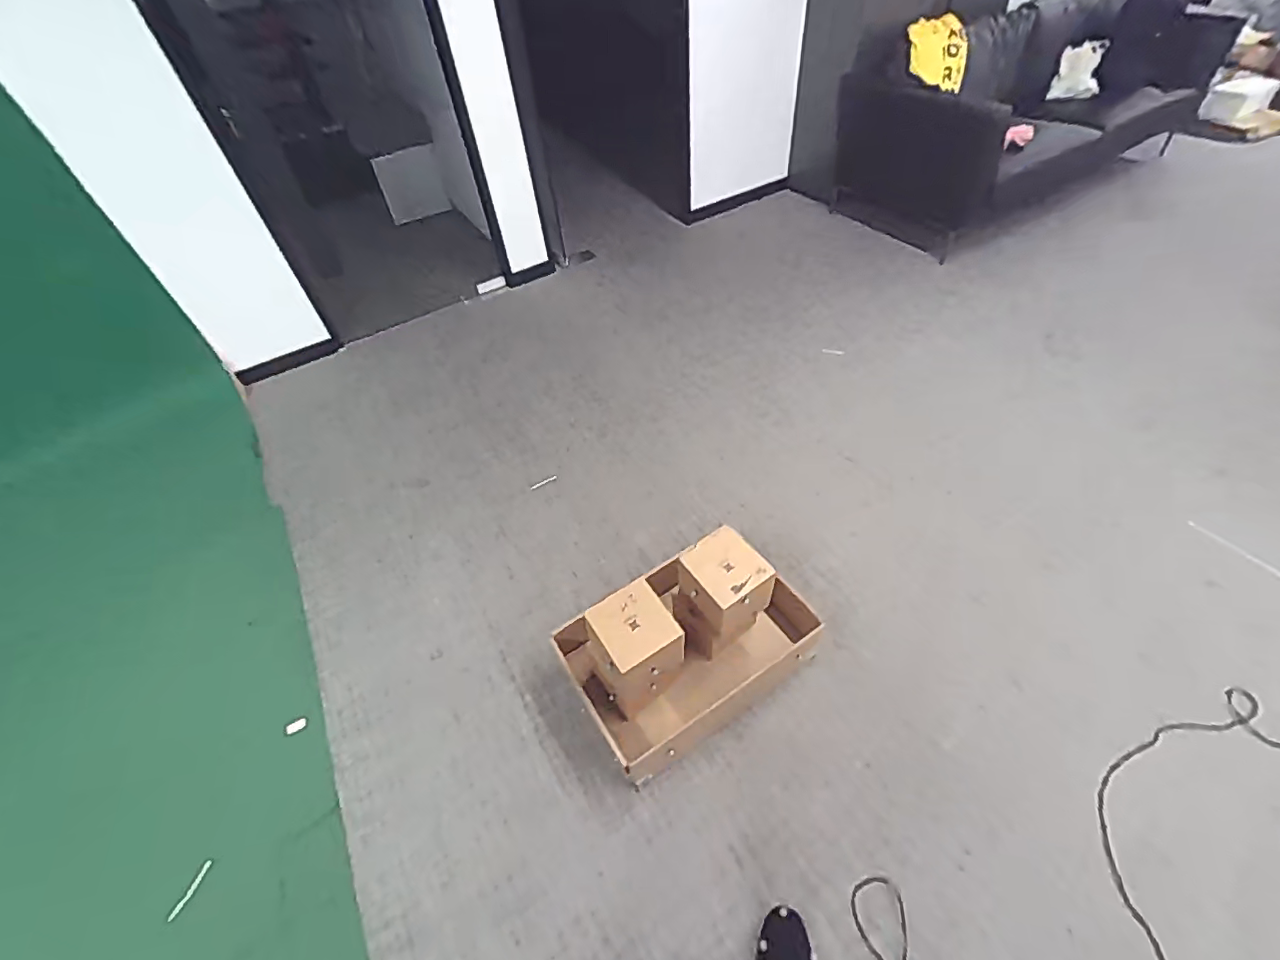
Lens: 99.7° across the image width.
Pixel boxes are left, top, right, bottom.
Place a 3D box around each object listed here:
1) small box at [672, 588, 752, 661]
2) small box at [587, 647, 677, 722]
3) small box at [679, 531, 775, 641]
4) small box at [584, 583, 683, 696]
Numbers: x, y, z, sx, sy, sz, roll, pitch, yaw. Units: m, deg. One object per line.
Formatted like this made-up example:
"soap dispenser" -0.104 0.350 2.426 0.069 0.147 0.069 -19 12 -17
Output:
"small box" 0.205 0.365 1.494 0.179 0.176 0.168 -31 55 -22
"small box" -0.015 0.492 1.403 0.179 0.176 0.168 -30 54 -22
"small box" 0.213 0.270 1.360 0.168 0.176 0.179 -30 52 -19
"small box" -0.012 0.385 1.278 0.168 0.176 0.179 -27 53 -19
